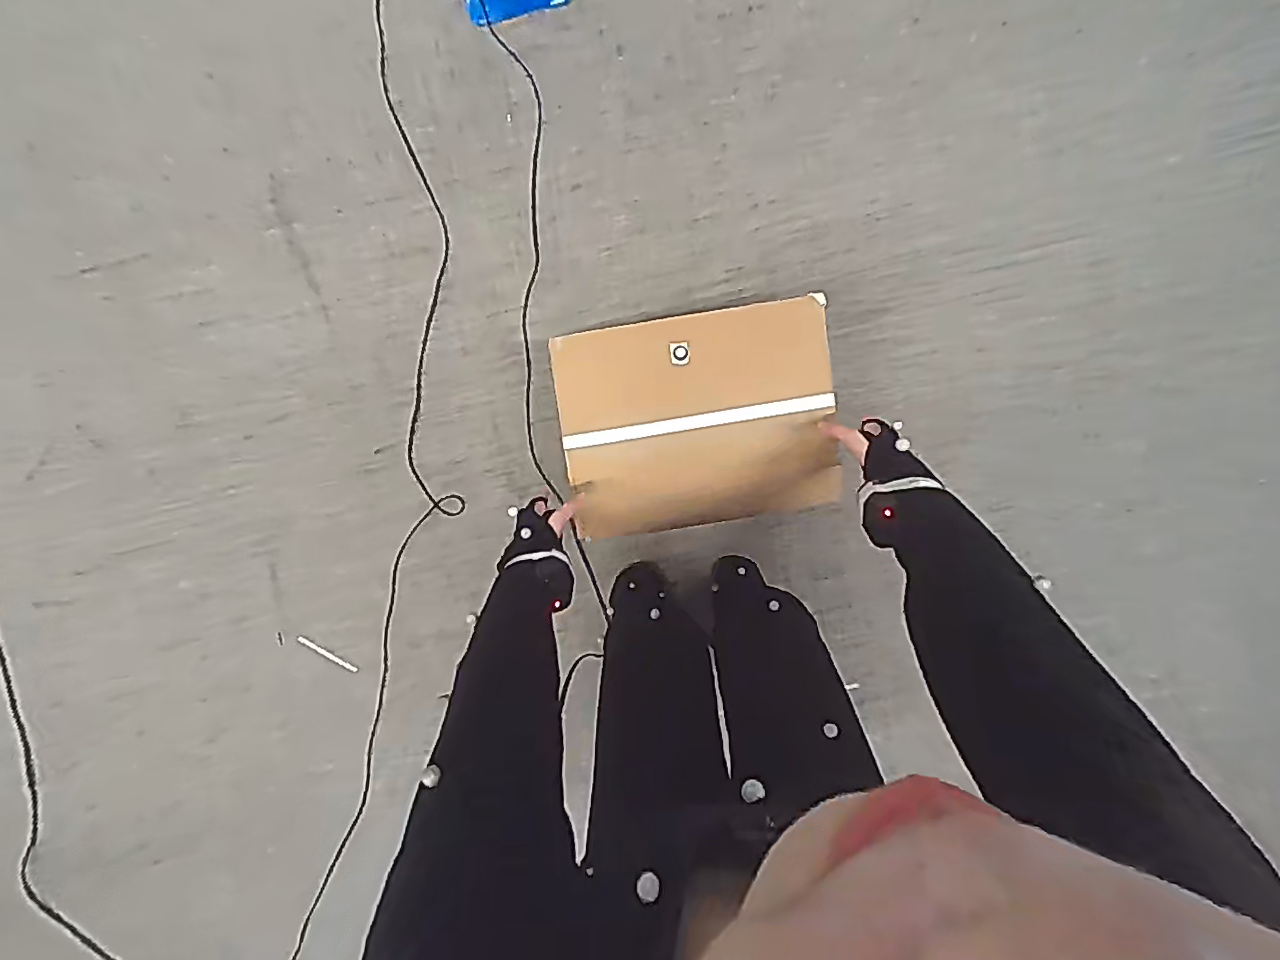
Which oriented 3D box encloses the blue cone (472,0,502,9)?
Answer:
[{"bbox_3d":[-0.237,-0.953,0.812,0.193,0.380,0.192,-15,97,1],"label":"blue cone"}]
